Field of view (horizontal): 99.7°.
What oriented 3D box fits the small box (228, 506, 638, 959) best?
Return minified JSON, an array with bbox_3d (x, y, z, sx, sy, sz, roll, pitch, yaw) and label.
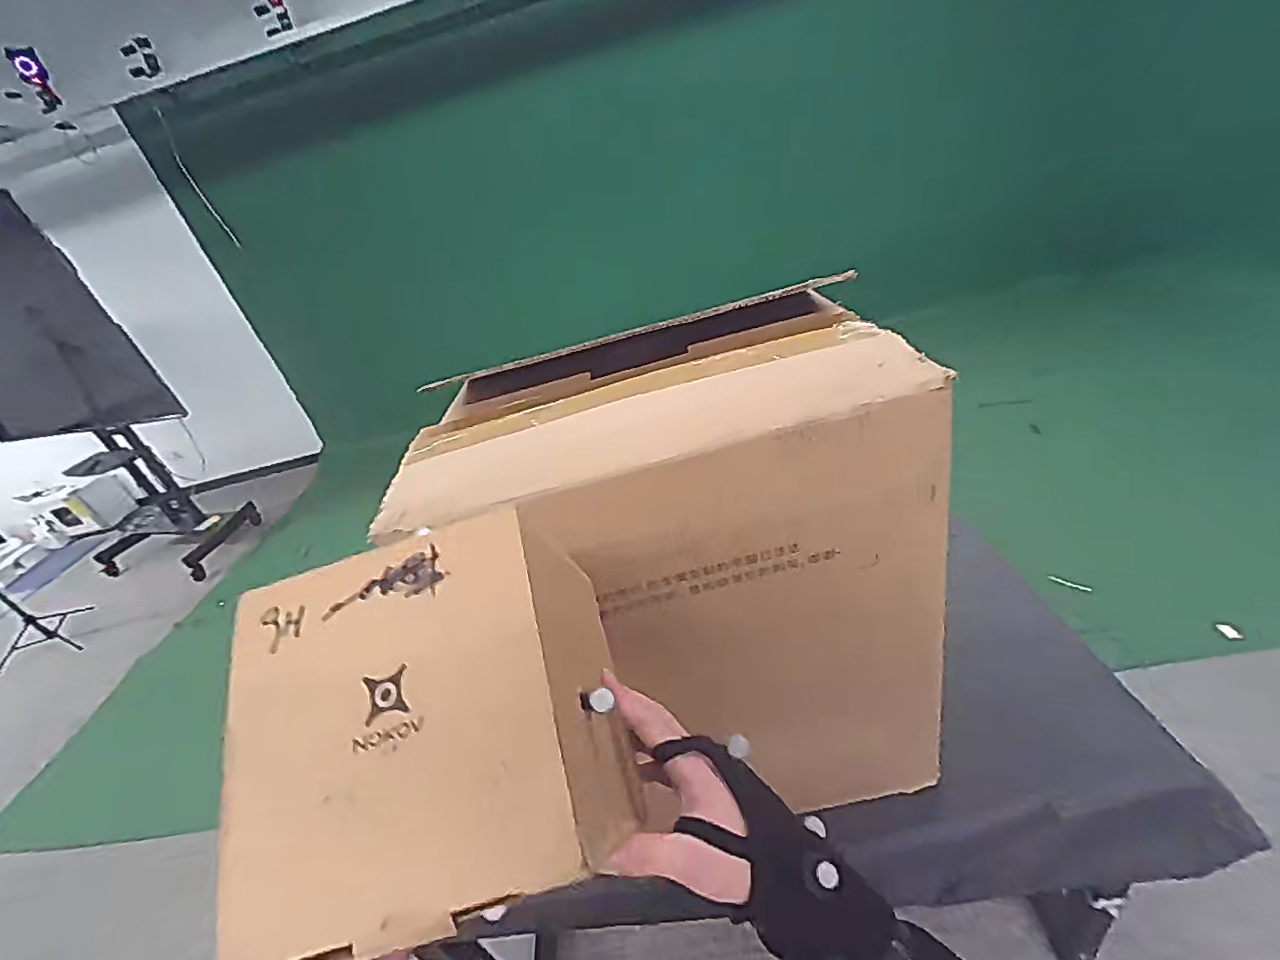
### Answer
[{"bbox_3d":[-0.108,0.143,0.335,0.168,0.176,0.179,-18,65,0],"label":"small box"}]
